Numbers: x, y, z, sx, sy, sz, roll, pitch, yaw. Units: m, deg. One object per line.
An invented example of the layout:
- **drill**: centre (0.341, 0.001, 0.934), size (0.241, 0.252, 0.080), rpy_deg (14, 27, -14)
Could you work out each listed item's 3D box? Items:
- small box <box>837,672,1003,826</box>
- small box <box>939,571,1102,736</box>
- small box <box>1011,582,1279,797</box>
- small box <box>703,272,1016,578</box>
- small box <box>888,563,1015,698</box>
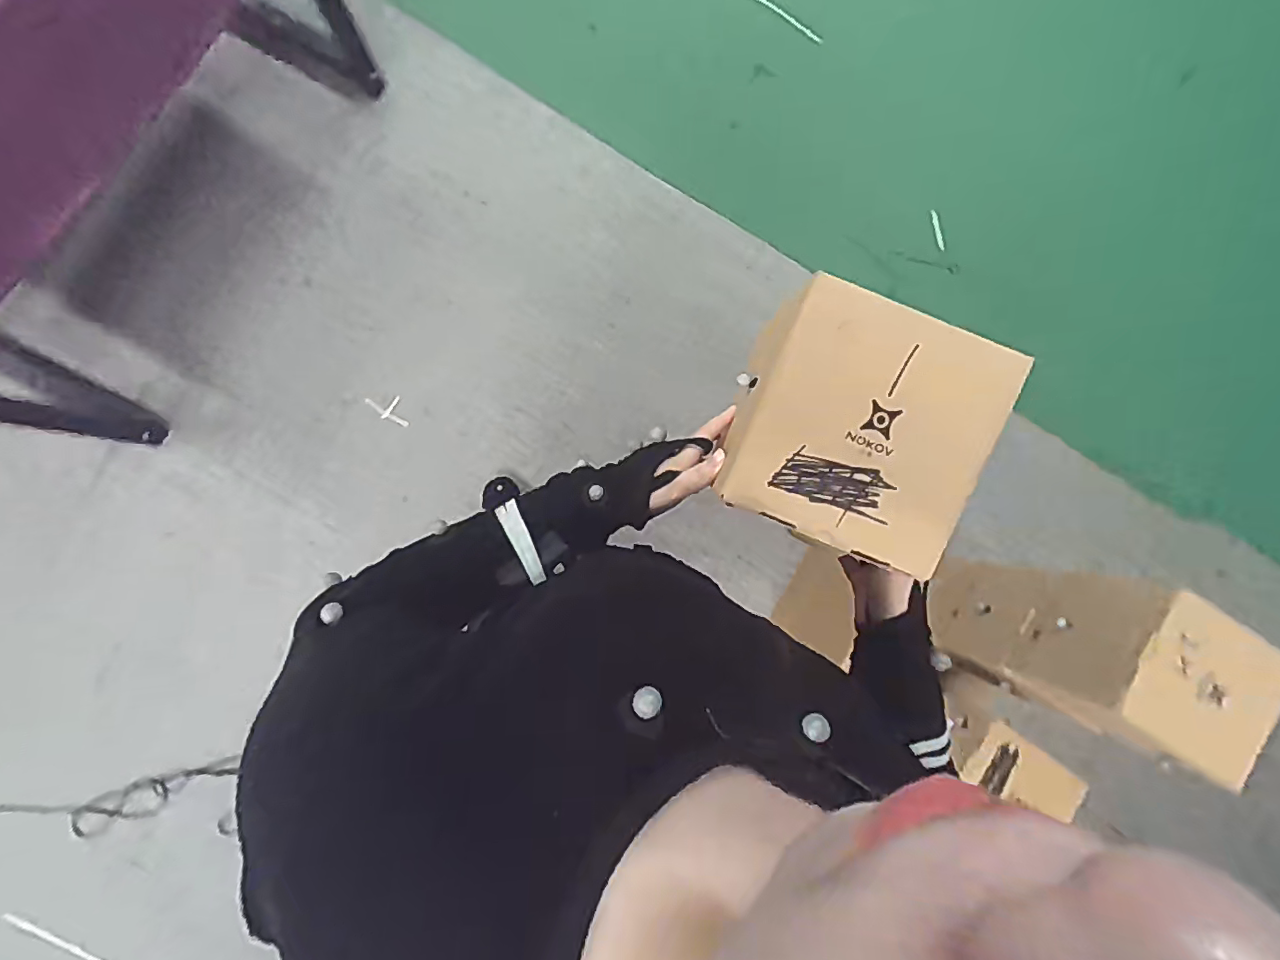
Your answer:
- **small box**: centre (0.500, 0.476, 0.993), size (0.179, 0.176, 0.168), rpy_deg (35, 84, -3)
- **small box**: centre (0.621, 0.258, 0.853), size (0.179, 0.176, 0.168), rpy_deg (34, 86, -1)
- **small box**: centre (0.637, 0.247, 0.689), size (0.179, 0.176, 0.168), rpy_deg (34, 85, -1)
- **small box**: centre (0.160, -0.044, 0.465), size (0.168, 0.176, 0.179), rpy_deg (22, 96, 0)
- **small box**: centre (0.614, 0.269, 1.017), size (0.179, 0.176, 0.168), rpy_deg (32, 86, -1)
